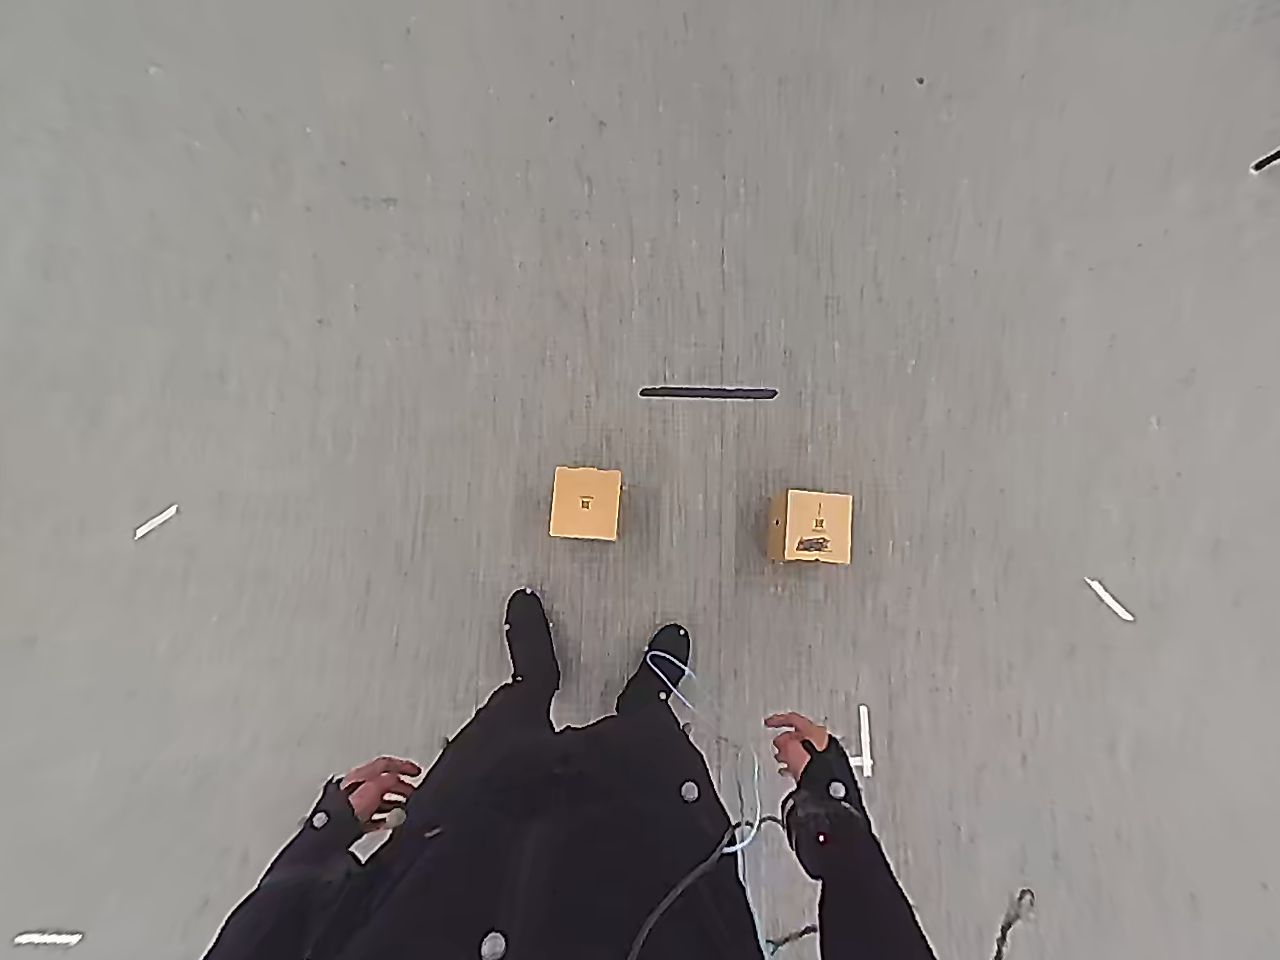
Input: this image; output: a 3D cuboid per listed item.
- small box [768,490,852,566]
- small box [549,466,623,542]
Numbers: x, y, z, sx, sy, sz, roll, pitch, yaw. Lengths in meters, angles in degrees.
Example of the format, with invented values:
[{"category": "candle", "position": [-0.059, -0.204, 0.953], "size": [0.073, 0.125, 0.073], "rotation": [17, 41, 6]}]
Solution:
[{"category": "small box", "position": [0.436, 0.129, 1.410], "size": [0.168, 0.176, 0.179], "rotation": [6, 81, -1]}, {"category": "small box", "position": [-0.134, 0.069, 1.407], "size": [0.168, 0.176, 0.179], "rotation": [4, 81, 0]}]
